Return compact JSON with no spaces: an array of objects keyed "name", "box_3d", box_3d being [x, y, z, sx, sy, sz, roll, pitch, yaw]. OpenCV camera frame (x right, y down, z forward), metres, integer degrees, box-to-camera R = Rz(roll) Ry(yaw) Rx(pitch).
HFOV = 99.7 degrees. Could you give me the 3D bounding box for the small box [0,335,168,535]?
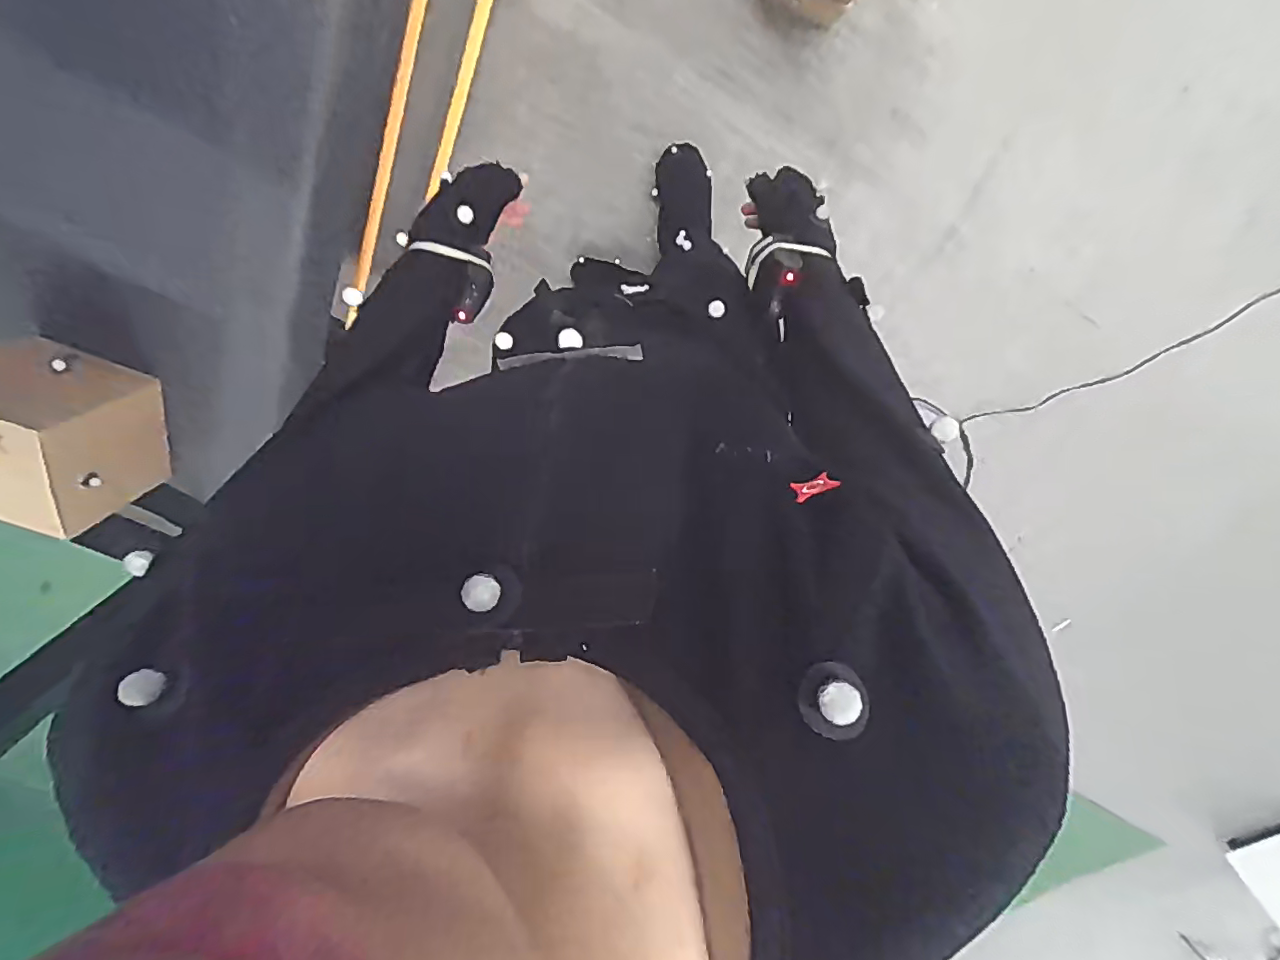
[{"name":"small box","box_3d":[-0.780,-0.065,0.720,0.168,0.176,0.179,20,121,-7]}]
